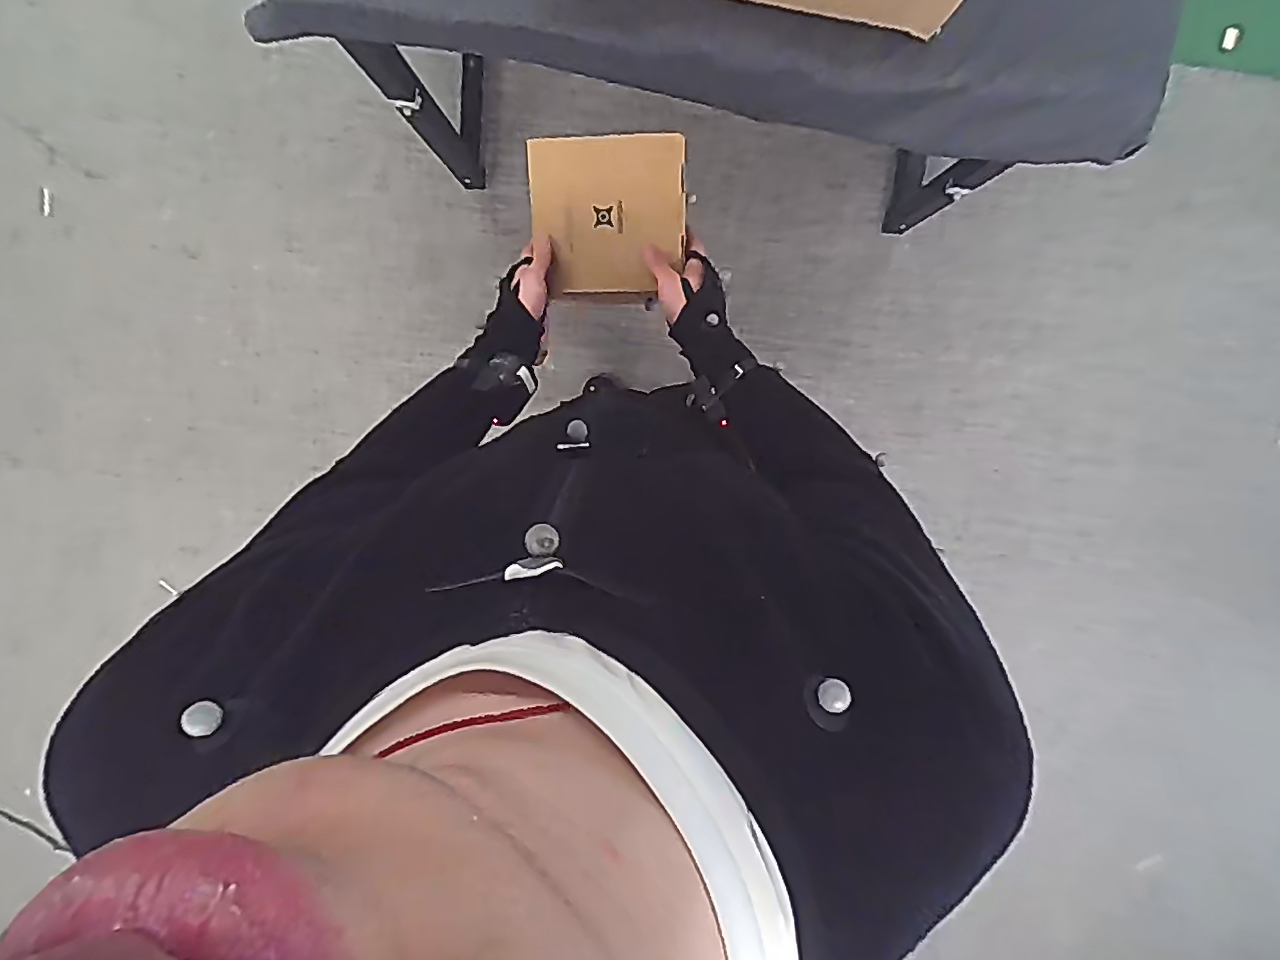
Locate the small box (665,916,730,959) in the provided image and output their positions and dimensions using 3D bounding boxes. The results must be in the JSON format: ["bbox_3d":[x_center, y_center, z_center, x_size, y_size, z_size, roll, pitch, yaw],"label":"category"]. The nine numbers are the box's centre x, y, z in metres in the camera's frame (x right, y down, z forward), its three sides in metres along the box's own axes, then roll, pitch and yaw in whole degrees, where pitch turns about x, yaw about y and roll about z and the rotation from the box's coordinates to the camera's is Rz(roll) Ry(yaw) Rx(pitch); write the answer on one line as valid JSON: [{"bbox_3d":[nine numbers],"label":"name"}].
[{"bbox_3d":[0.195,1.571,1.747,0.179,0.176,0.168,-28,101,3],"label":"small box"}]
